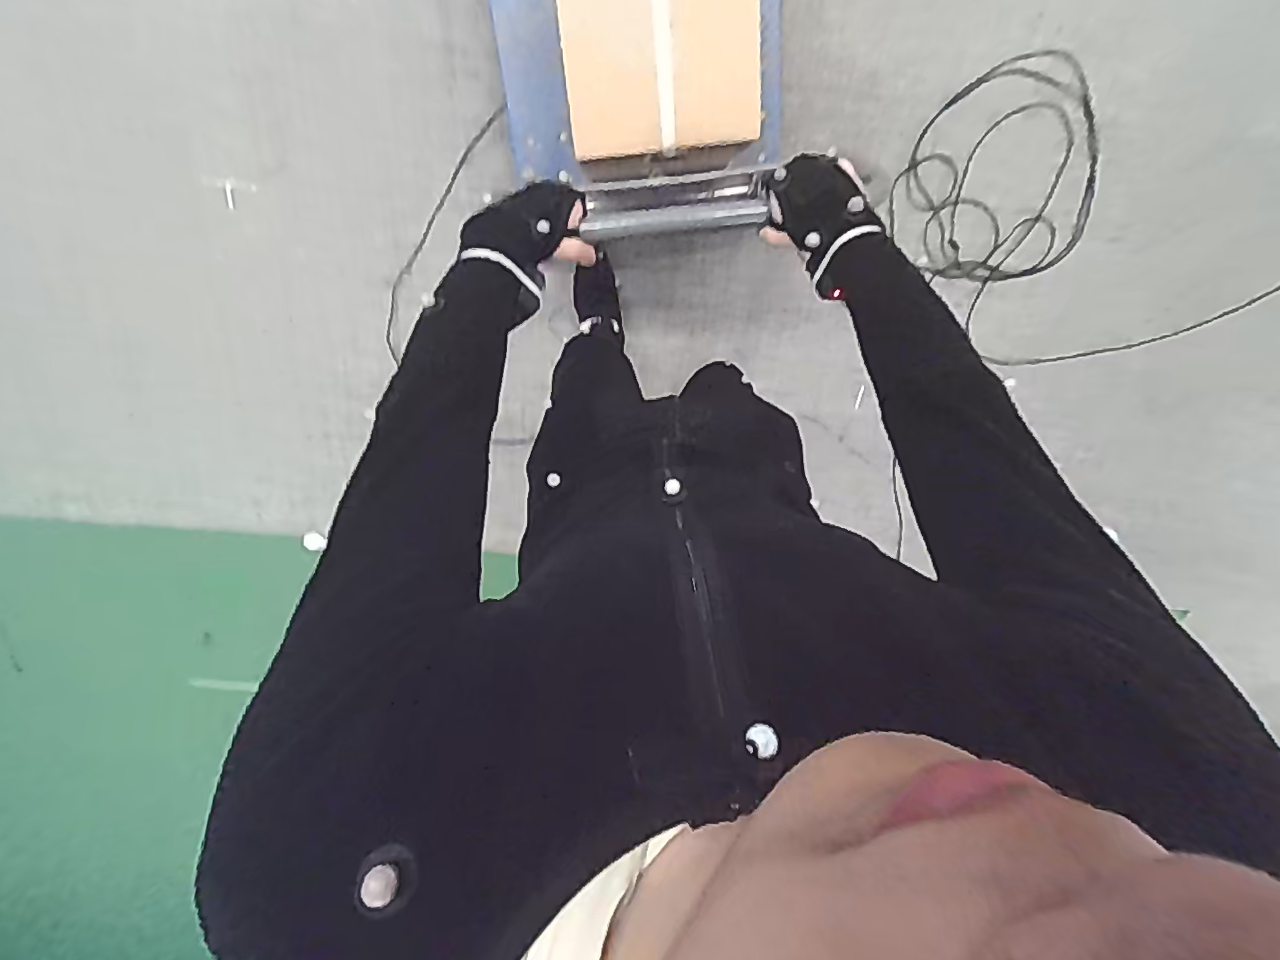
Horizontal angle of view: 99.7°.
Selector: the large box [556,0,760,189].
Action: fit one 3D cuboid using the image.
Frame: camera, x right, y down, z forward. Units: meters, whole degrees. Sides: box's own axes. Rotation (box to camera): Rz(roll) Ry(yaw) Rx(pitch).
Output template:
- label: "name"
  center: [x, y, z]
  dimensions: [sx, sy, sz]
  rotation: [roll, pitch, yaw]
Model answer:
- label: "large box"
  center: [0.024, -0.784, 0.976]
  dimensions: [0.320, 0.320, 0.408]
  rotation: [-6, 112, 0]
